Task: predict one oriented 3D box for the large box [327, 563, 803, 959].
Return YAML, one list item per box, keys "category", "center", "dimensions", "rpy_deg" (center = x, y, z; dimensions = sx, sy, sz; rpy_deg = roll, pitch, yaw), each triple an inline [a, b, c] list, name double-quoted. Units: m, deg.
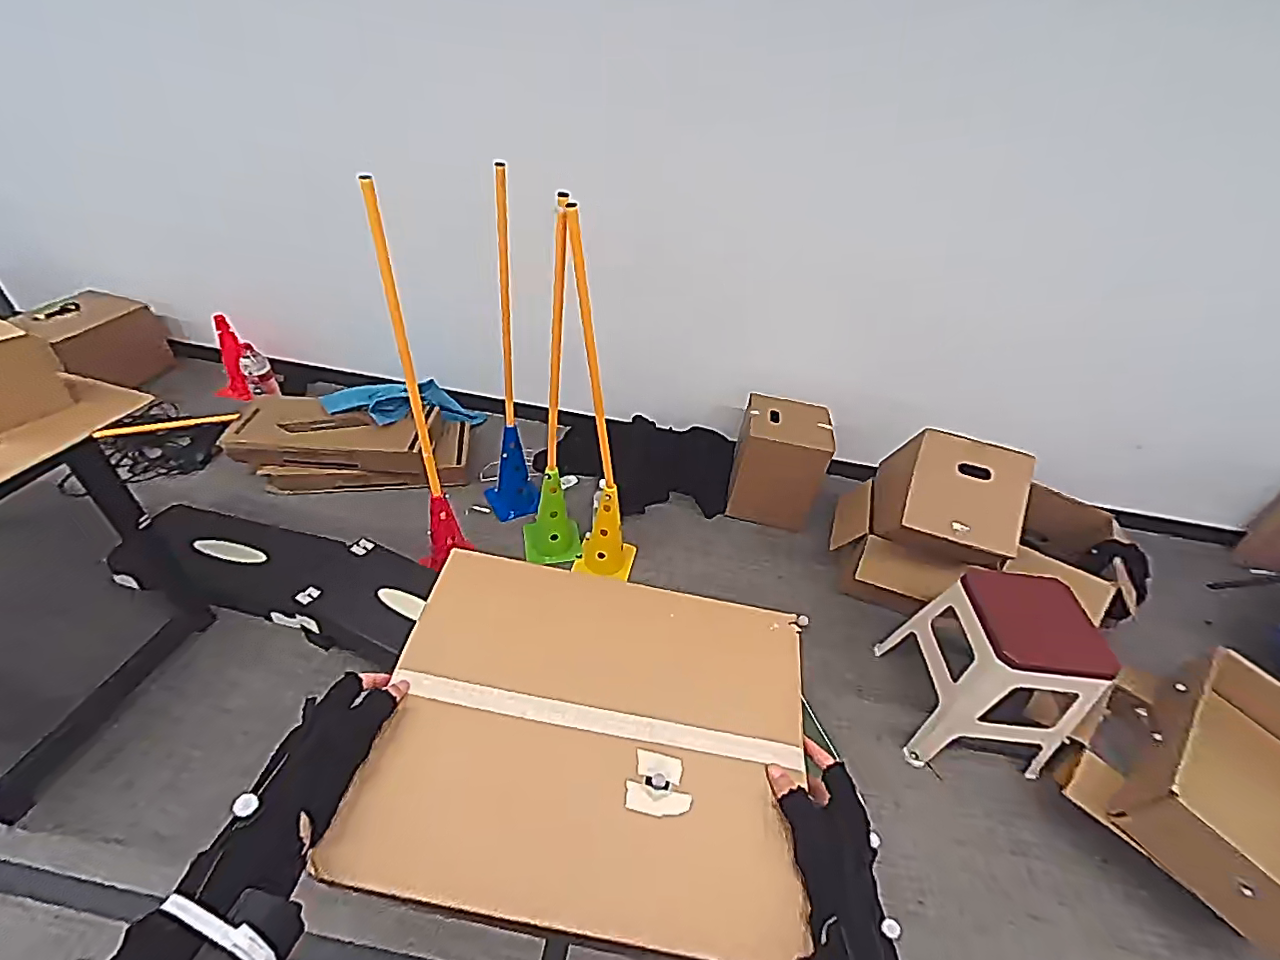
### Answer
- category: "large box"
  center: [-0.060, 0.340, 0.646]
  dimensions: [0.408, 0.320, 0.320]
  rpy_deg: [11, 49, 1]
